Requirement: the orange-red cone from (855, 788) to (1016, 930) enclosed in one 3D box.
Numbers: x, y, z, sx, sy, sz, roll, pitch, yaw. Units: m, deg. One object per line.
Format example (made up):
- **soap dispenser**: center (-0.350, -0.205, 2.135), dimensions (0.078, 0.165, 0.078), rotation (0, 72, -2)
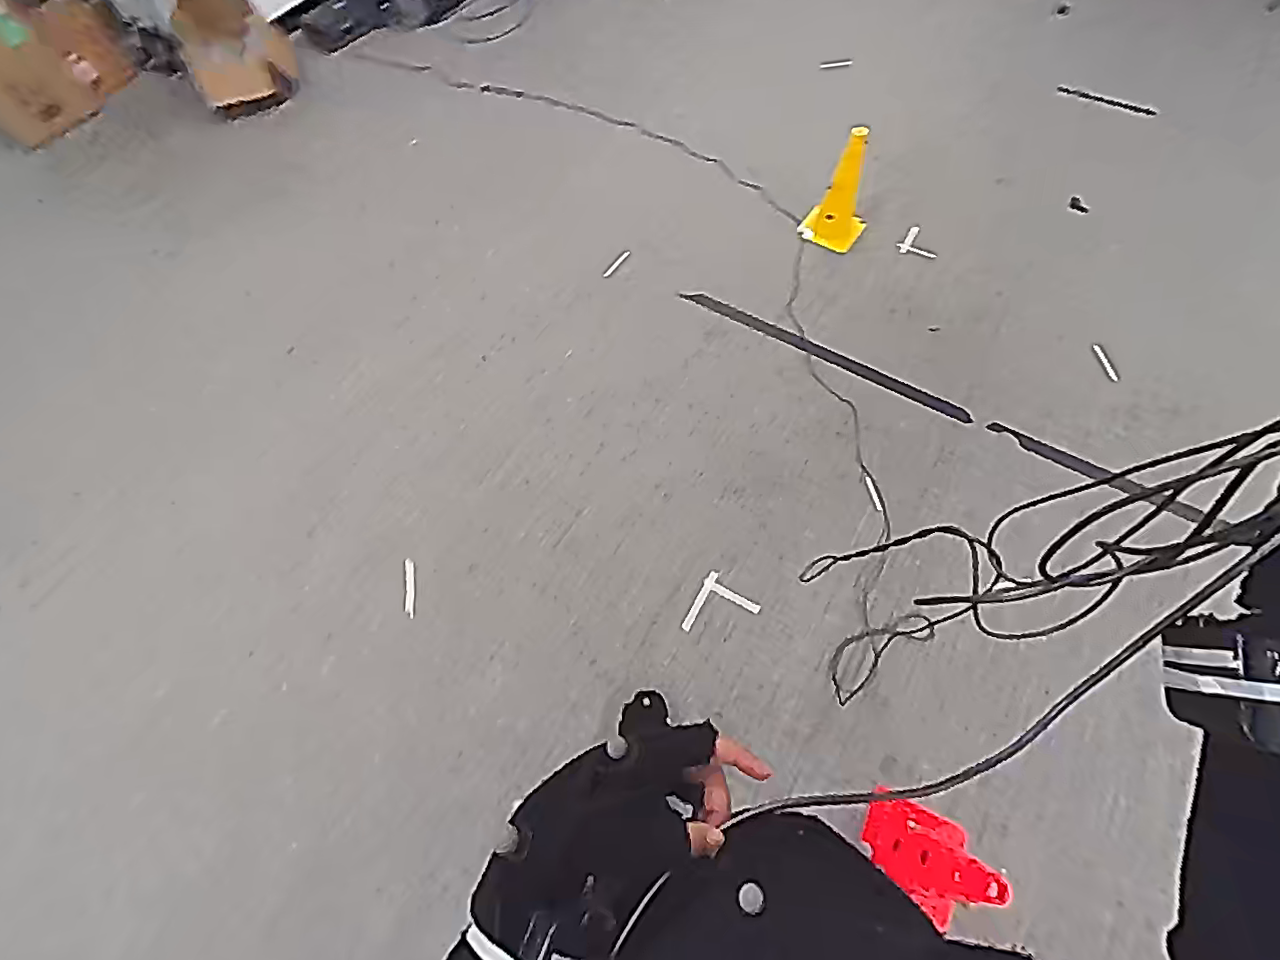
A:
- **orange-red cone**: center (0.562, 0.708, 0.975), dimensions (0.199, 0.360, 0.198), rotation (25, 68, 14)
